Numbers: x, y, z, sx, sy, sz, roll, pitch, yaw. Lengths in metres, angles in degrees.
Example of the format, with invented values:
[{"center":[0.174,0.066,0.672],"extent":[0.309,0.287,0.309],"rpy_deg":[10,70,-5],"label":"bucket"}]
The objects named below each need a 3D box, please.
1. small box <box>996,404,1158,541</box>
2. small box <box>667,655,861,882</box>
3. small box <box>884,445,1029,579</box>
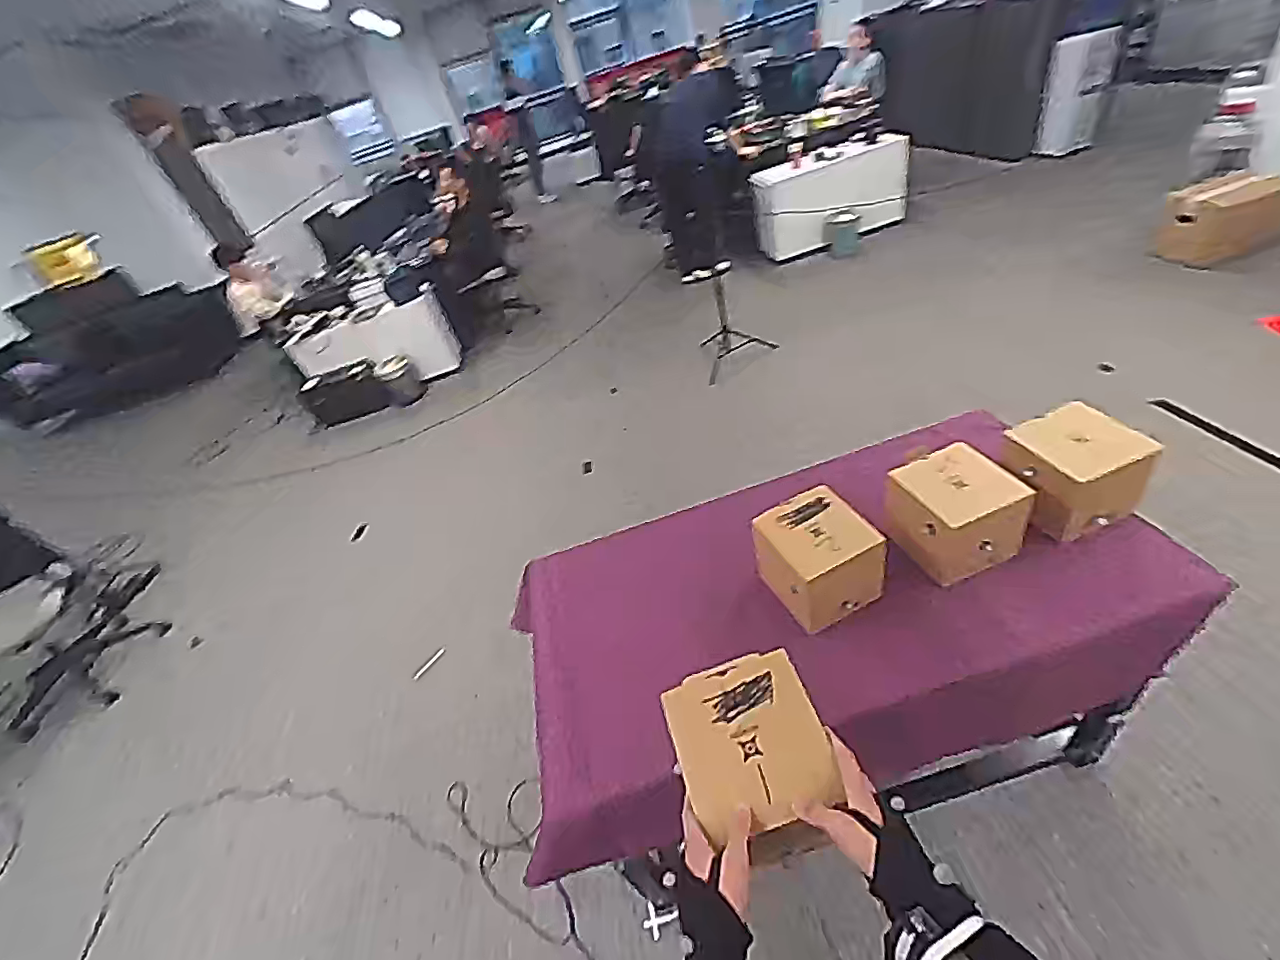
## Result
[{"center":[0.822,-0.014,1.047],"extent":[0.168,0.176,0.179],"rpy_deg":[-23,38,-2],"label":"small box"},{"center":[0.147,0.351,0.658],"extent":[0.168,0.176,0.179],"rpy_deg":[-21,43,1],"label":"small box"},{"center":[0.597,0.067,1.043],"extent":[0.168,0.176,0.179],"rpy_deg":[-23,38,-5],"label":"small box"}]
